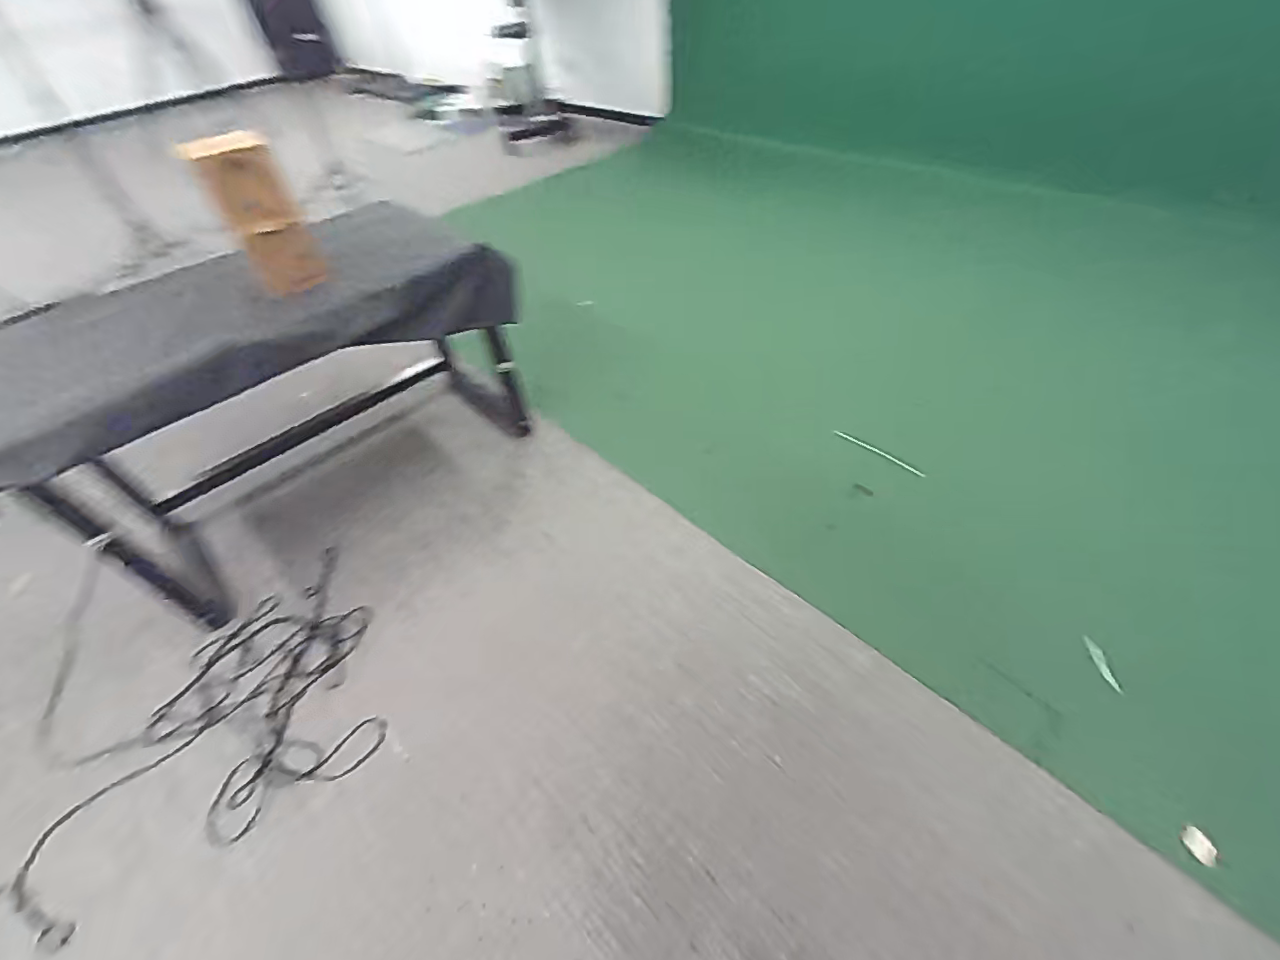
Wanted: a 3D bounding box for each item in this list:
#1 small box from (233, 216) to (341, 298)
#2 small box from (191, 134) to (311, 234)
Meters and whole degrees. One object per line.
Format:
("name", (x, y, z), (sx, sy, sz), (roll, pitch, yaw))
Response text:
("small box", (-0.930, -0.606, 1.437), (0.168, 0.176, 0.179), (-33, 50, -24))
("small box", (-0.951, -0.729, 1.331), (0.168, 0.176, 0.179), (-32, 52, -24))
